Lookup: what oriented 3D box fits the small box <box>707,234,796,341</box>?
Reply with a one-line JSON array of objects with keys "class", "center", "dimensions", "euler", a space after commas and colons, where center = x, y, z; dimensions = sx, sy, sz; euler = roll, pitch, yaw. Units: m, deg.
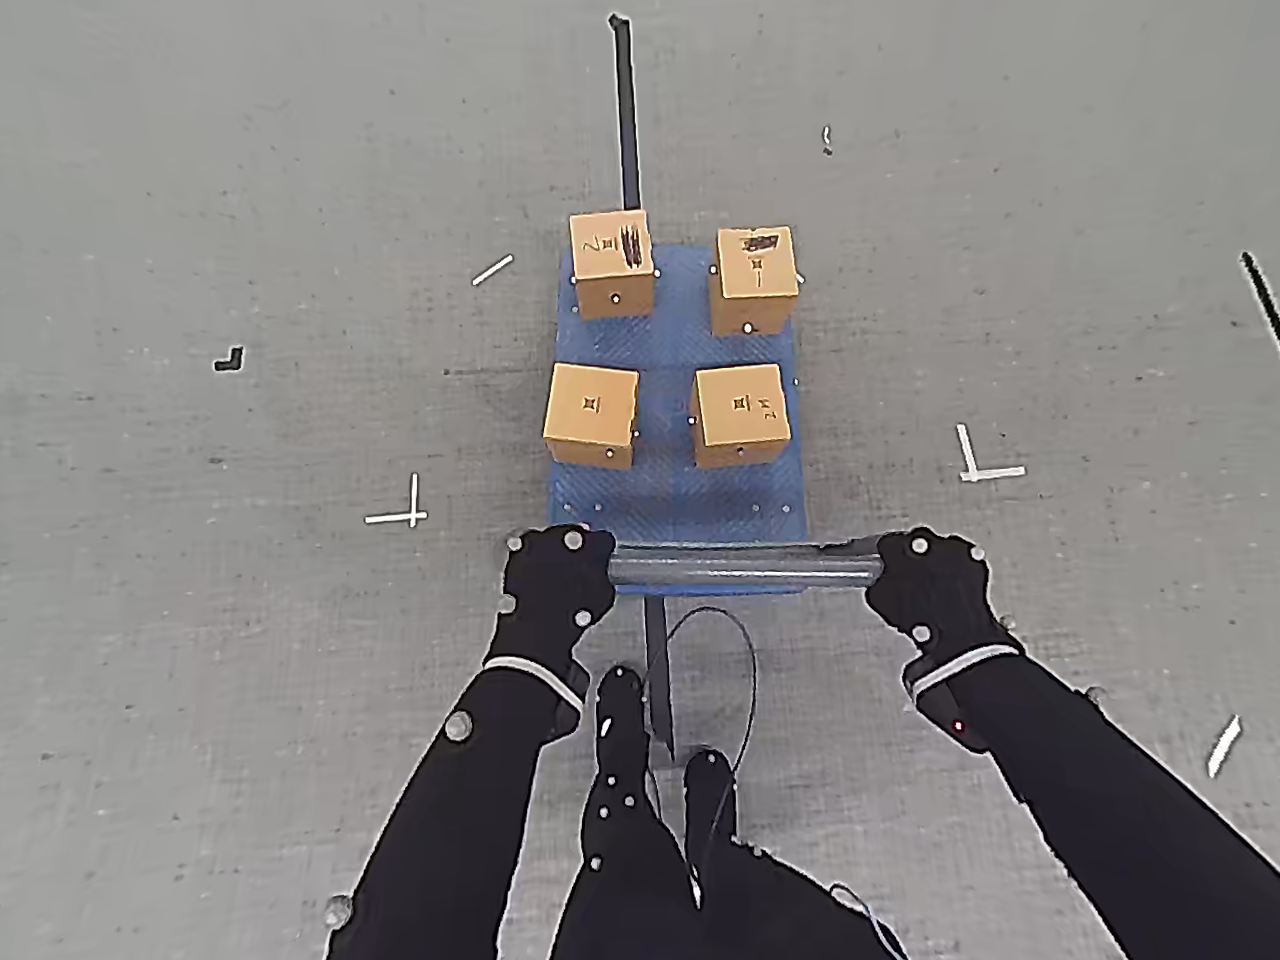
[{"class": "small box", "center": [0.253, -0.445, 1.267], "dimensions": [0.168, 0.176, 0.179], "euler": [-3, 76, -1]}]

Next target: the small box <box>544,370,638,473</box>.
[{"class": "small box", "center": [-0.100, -0.121, 1.176], "dimensions": [0.179, 0.176, 0.168], "euler": [6, 74, 0]}]

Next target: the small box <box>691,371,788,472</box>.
[{"class": "small box", "center": [0.206, -0.122, 1.179], "dimensions": [0.179, 0.176, 0.168], "euler": [-5, 75, -2]}]
